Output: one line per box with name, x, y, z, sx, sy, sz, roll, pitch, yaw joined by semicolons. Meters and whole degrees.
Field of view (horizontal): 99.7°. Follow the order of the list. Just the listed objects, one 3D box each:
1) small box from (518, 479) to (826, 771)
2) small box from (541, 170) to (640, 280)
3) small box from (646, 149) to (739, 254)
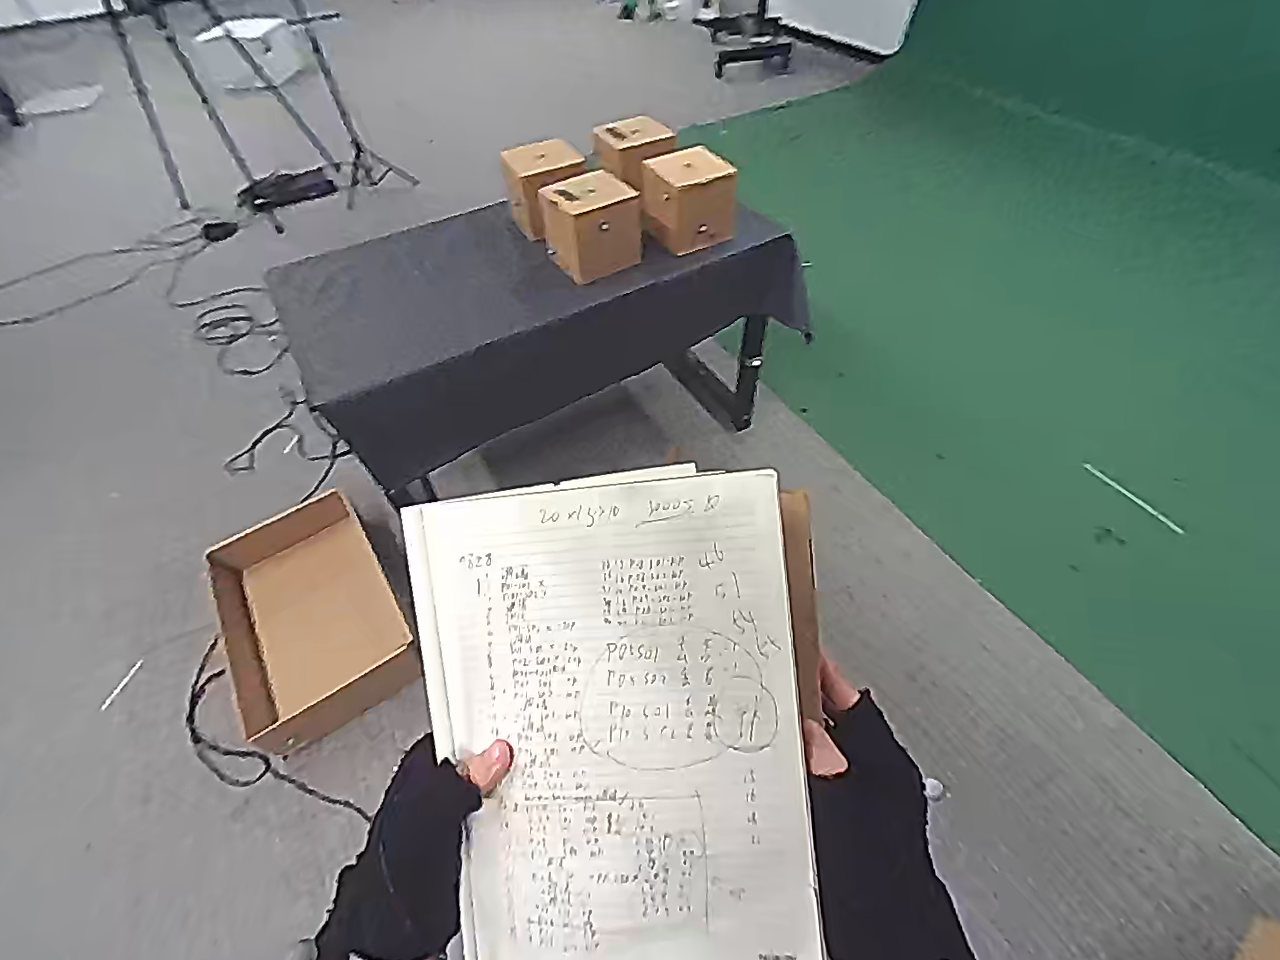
small box;0.026;0.099;0.398;0.179;0.176;0.168;0;76;5
small box;-0.112;-0.604;1.290;0.179;0.176;0.168;-28;56;-19
small box;0.124;-0.696;1.356;0.168;0.176;0.179;-23;54;-15
